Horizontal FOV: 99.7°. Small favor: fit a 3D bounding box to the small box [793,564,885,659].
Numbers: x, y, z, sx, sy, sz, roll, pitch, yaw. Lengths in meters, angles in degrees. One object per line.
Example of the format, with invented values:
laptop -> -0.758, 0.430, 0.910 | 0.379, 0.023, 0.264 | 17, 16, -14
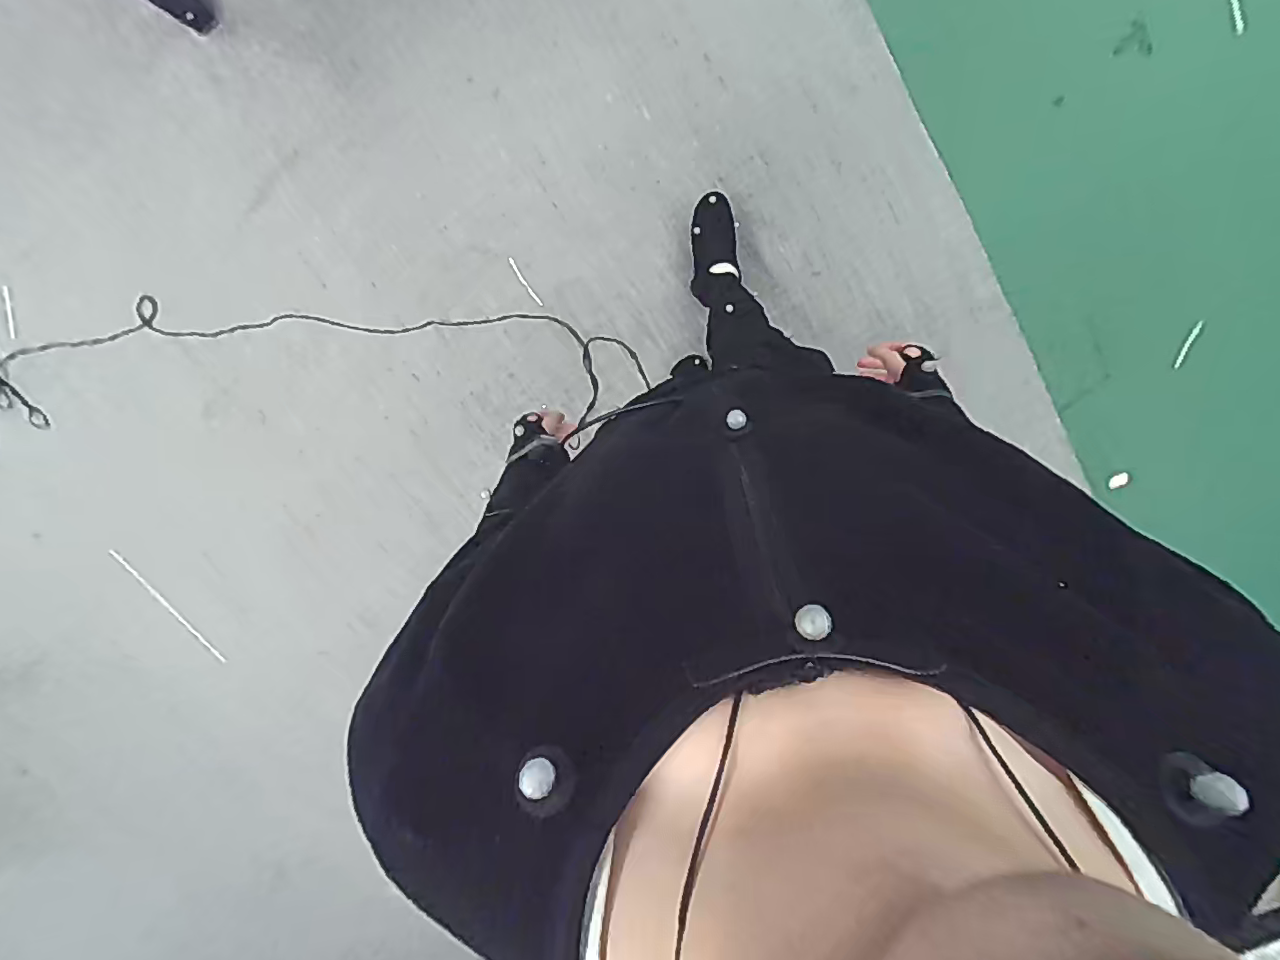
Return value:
small box -> 0.545, 0.355, 1.506 | 0.168, 0.176, 0.179 | -26, 103, 10
